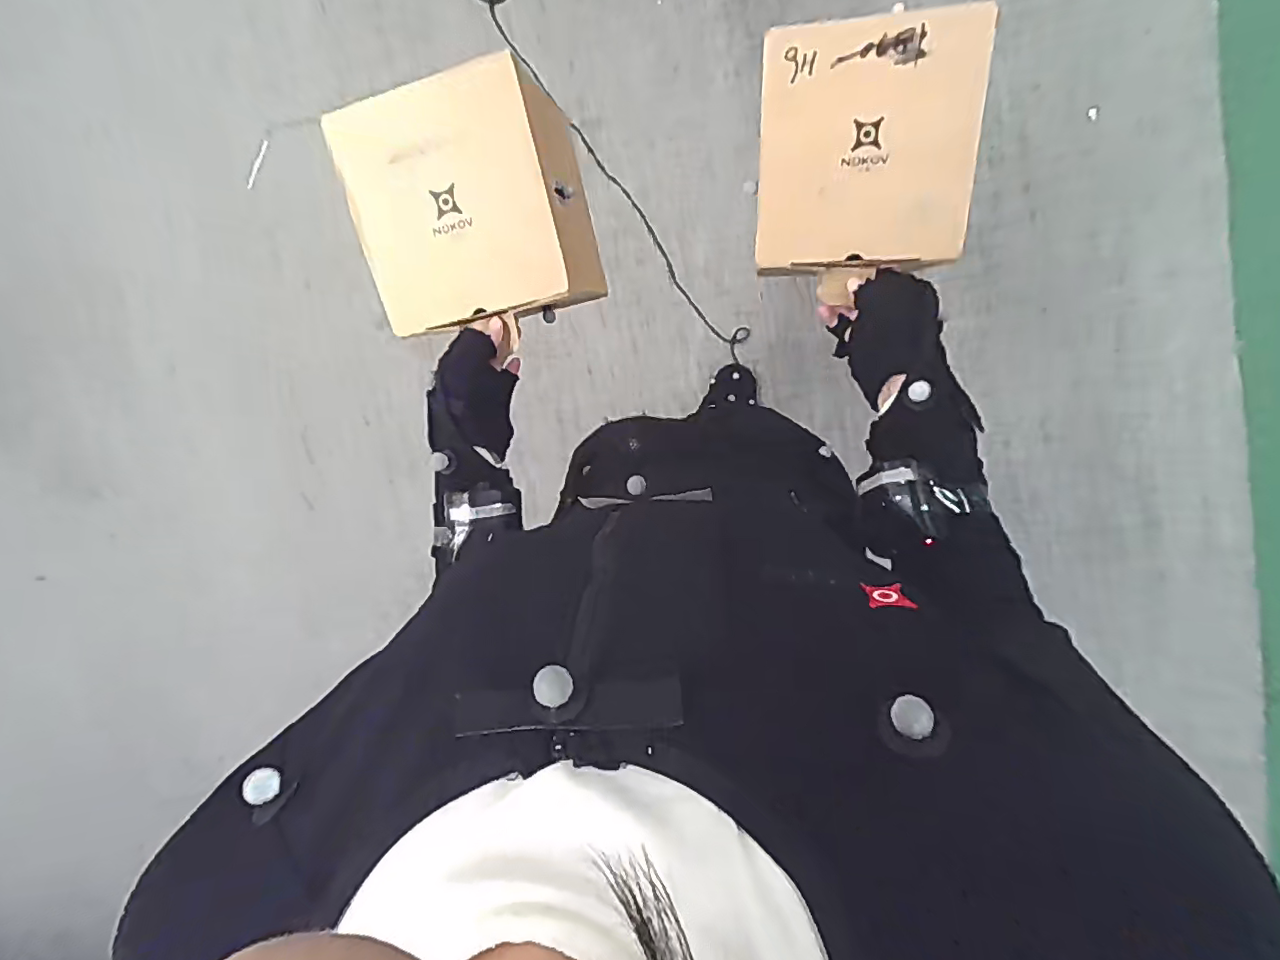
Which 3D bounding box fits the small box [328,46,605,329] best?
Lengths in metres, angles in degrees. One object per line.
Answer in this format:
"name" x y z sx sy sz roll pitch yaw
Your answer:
"small box" -0.142 -0.254 0.514 0.168 0.176 0.179 -11 106 11
